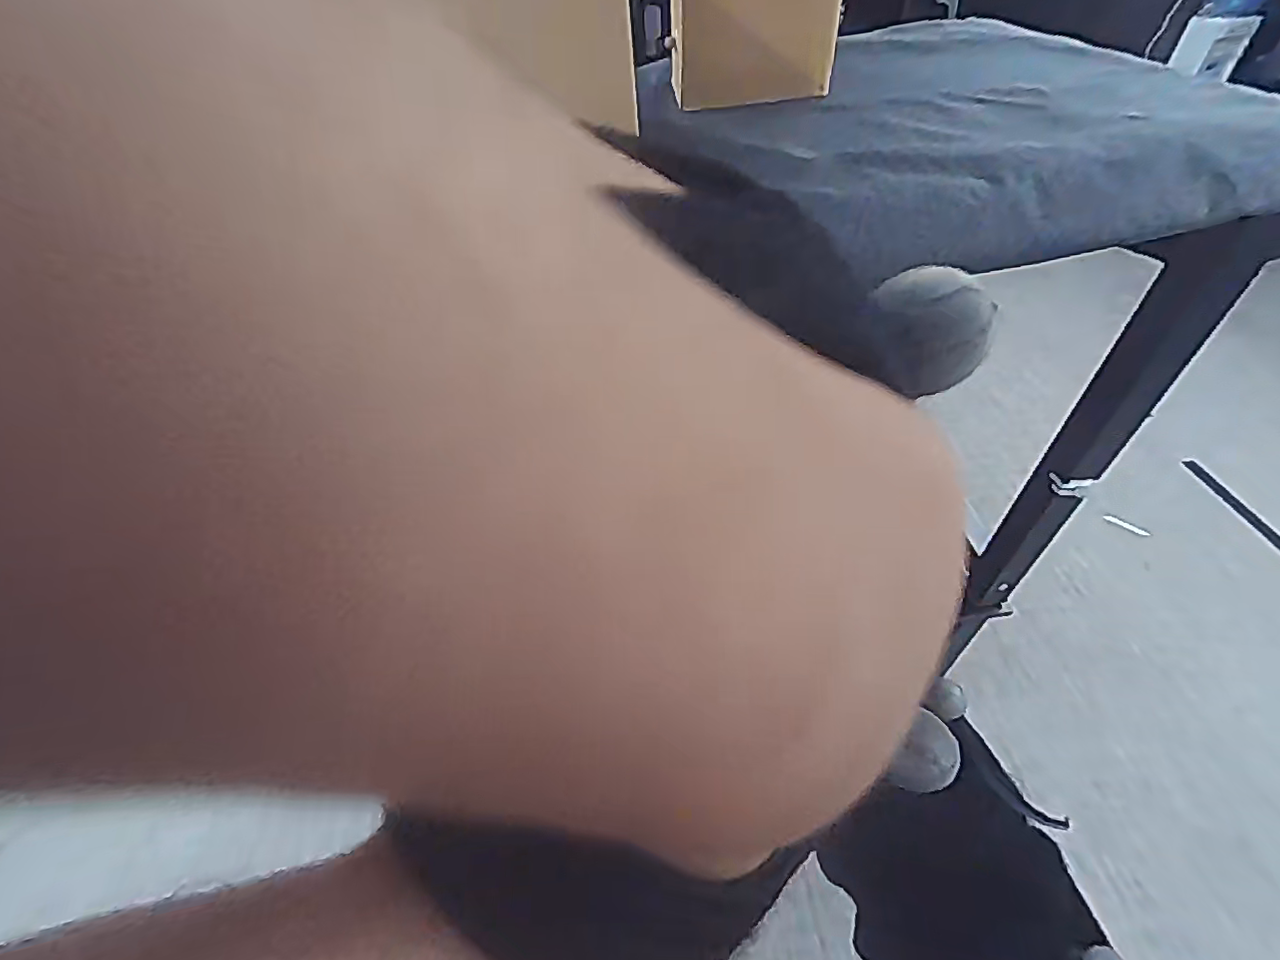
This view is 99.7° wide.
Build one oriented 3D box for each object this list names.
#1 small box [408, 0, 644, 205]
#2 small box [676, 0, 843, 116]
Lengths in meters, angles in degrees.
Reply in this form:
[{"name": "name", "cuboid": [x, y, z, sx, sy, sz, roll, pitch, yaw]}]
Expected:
[{"name": "small box", "cuboid": [-0.086, -0.365, 0.483, 0.168, 0.176, 0.179, -5, 46, 3]}, {"name": "small box", "cuboid": [0.133, -0.556, 0.638, 0.179, 0.176, 0.168, -5, 47, 3]}]
